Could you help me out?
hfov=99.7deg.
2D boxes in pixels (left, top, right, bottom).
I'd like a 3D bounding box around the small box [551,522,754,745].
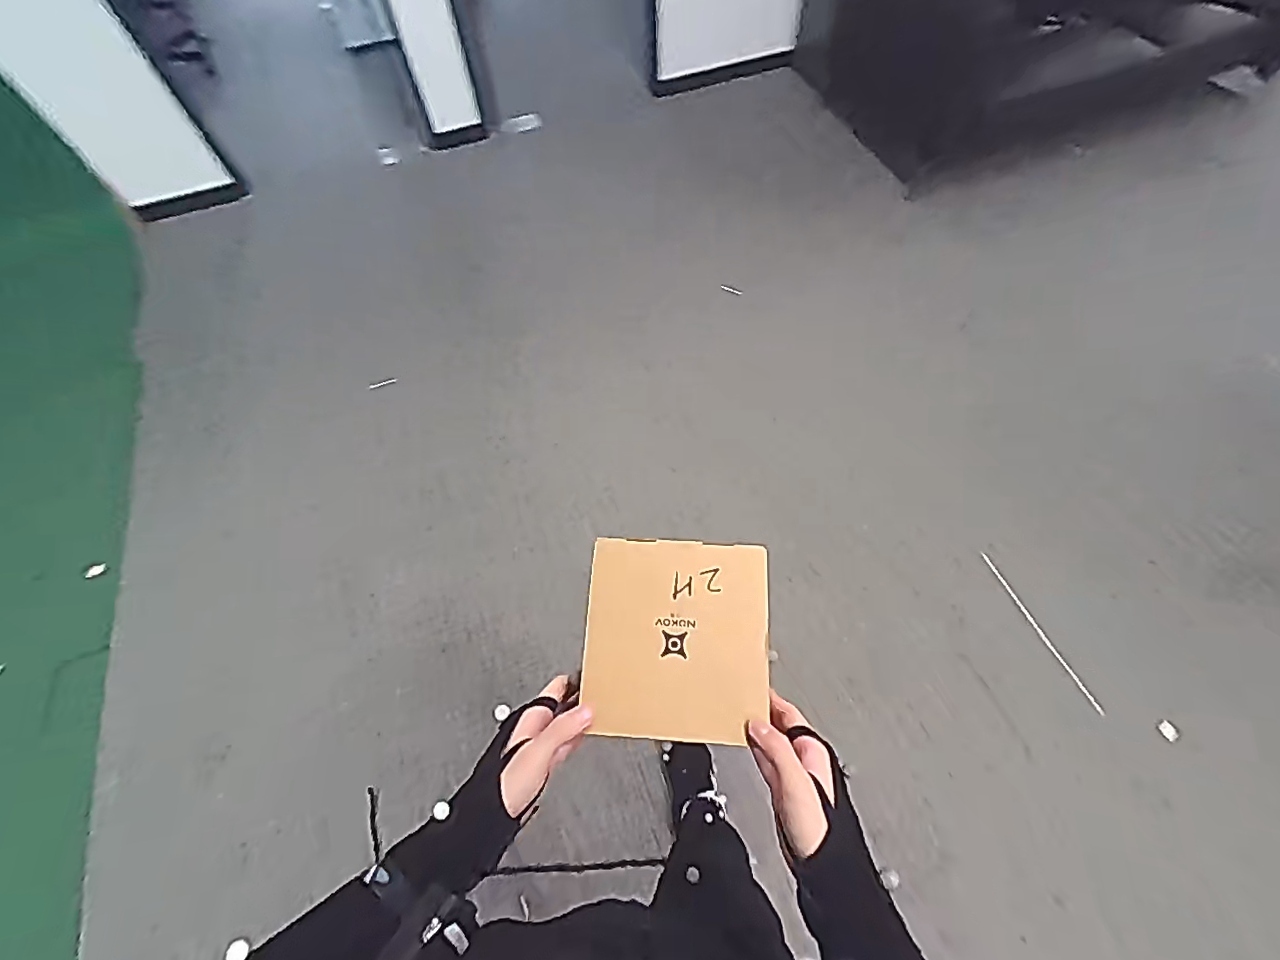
[{"bbox_3d":[0.019,0.155,0.545,0.168,0.176,0.179,4,68,4],"label":"small box"}]
